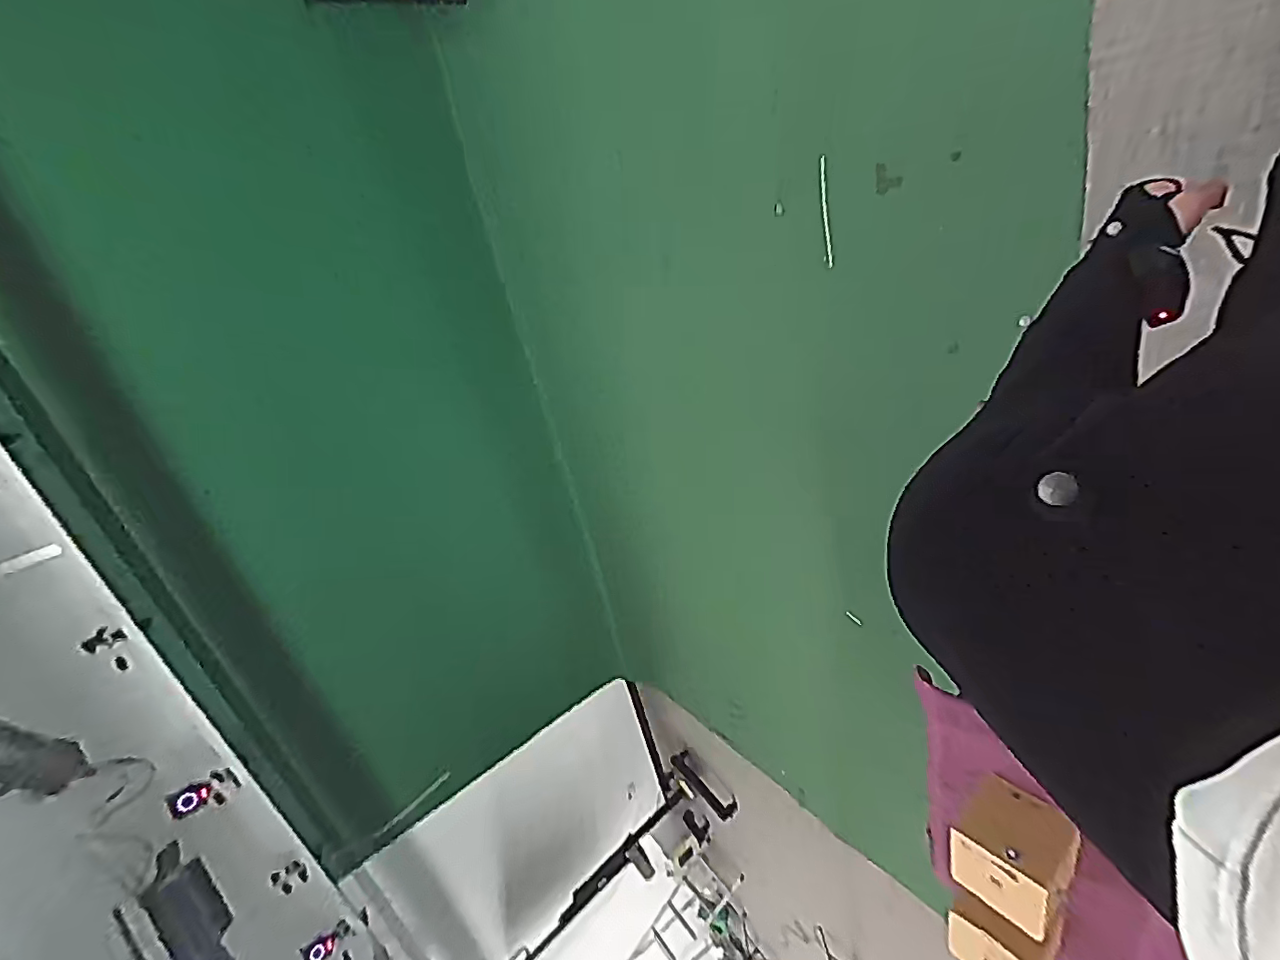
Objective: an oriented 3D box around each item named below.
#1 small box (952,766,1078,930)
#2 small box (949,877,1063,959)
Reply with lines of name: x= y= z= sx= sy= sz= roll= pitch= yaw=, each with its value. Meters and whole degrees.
small box: x=0.755 y=0.733 z=1.093 sx=0.168 sy=0.176 sz=0.179 roll=17 pitch=131 yaw=50
small box: x=0.818 y=0.986 z=1.211 sx=0.168 sy=0.176 sz=0.179 roll=16 pitch=127 yaw=48
